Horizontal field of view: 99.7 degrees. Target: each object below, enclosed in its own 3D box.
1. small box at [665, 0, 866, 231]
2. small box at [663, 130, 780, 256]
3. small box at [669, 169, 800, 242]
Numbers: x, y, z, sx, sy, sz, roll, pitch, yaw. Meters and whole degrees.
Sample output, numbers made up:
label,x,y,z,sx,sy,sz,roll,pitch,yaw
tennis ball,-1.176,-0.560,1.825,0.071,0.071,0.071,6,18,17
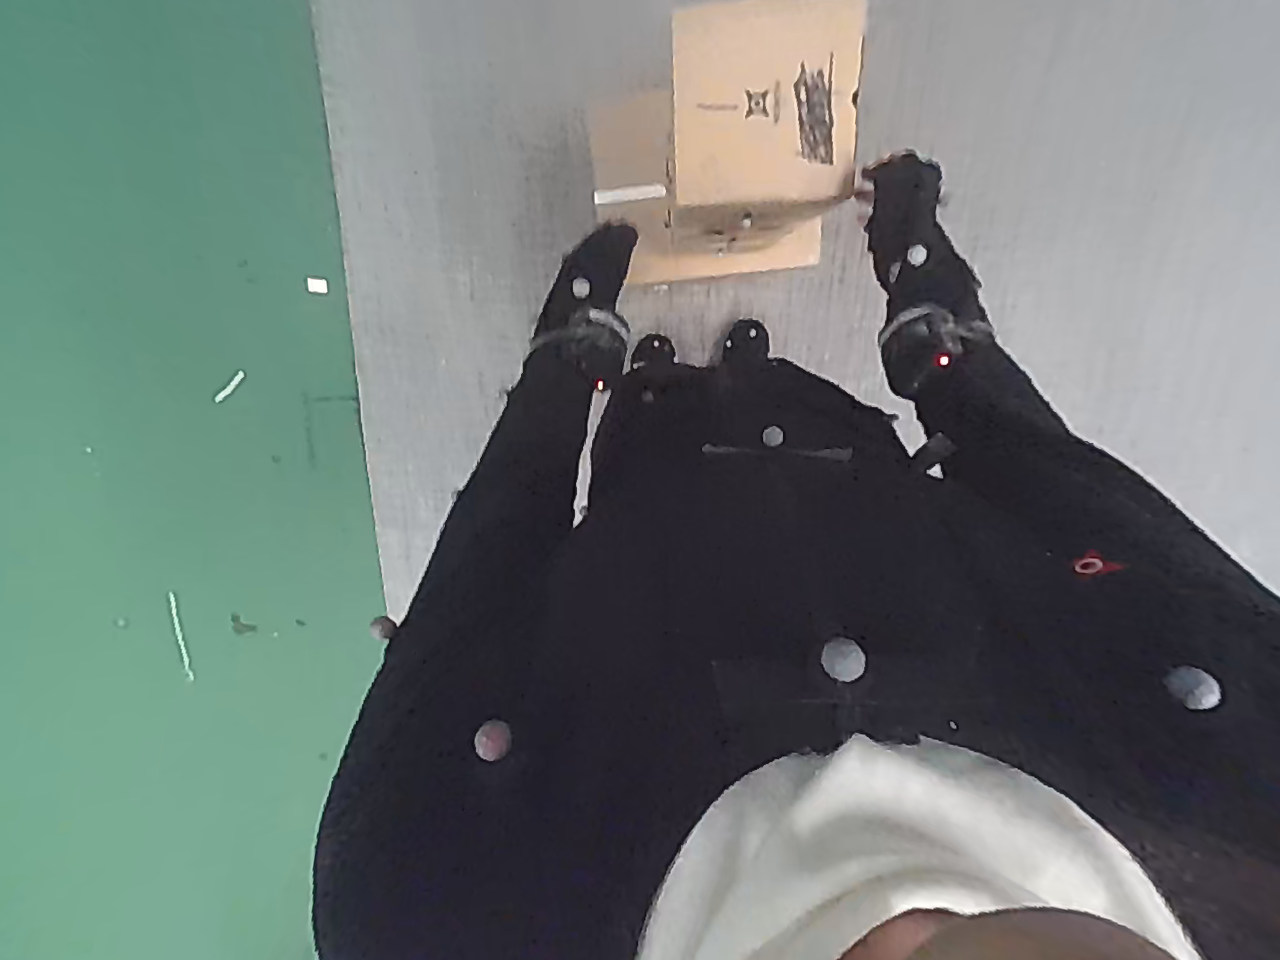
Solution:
label,x,y,z,sx,sy,sz,roll,pitch,yaw
small box,0.121,-0.371,0.579,0.179,0.176,0.168,-5,108,3
small box,0.129,-0.469,0.893,0.179,0.176,0.168,-3,109,2
small box,0.123,-0.424,0.736,0.168,0.176,0.179,-2,109,4
